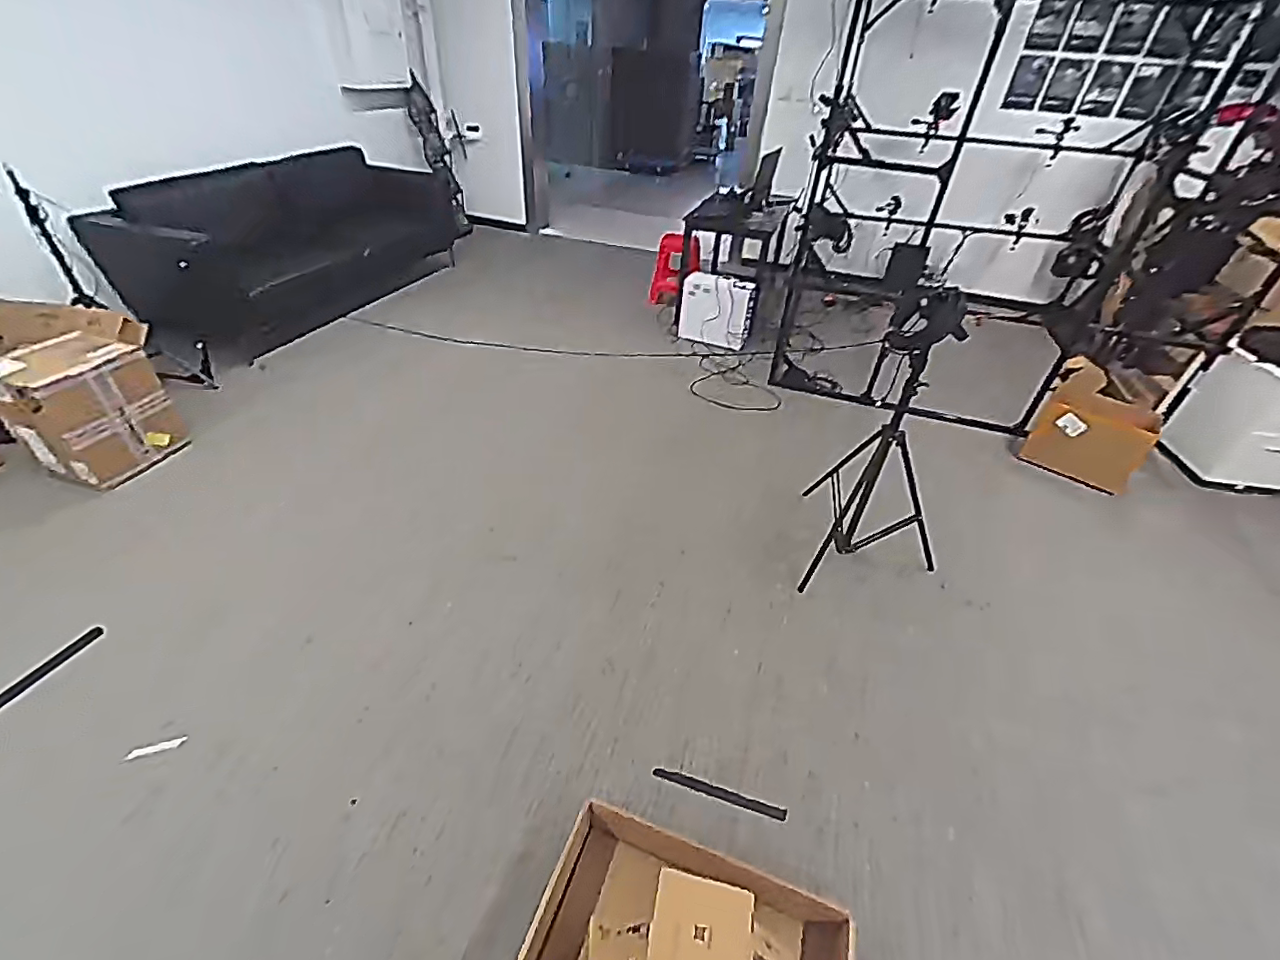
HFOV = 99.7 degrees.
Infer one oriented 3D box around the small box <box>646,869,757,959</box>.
[{"bbox_3d":[0.105,0.842,0.971,0.179,0.176,0.168,9,37,8],"label":"small box"}]
